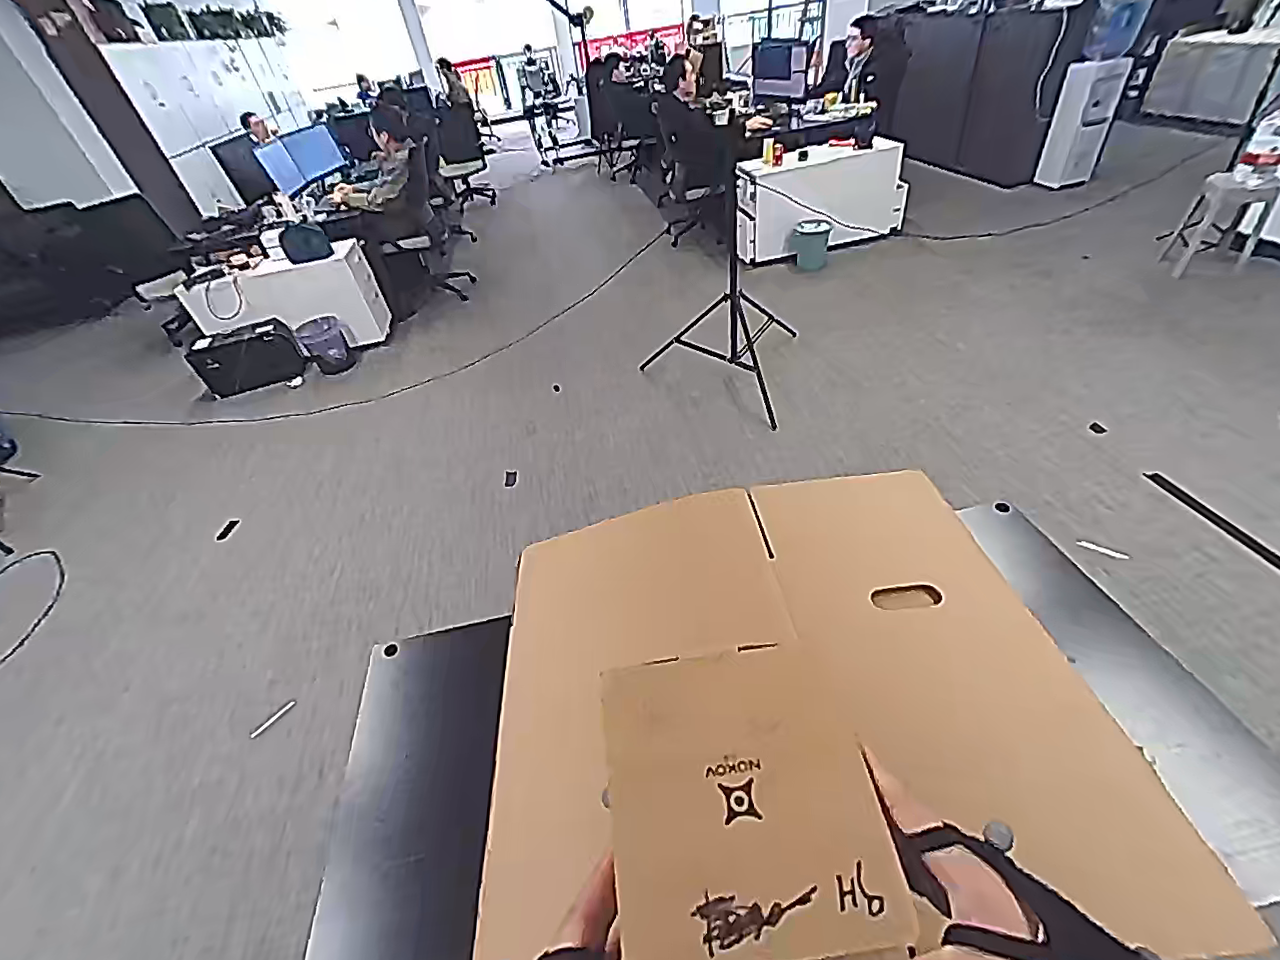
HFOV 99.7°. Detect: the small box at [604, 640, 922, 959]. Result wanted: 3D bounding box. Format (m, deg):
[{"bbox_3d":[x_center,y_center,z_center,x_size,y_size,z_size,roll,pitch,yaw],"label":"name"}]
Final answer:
[{"bbox_3d":[0.068,0.245,0.402,0.168,0.176,0.179,-9,50,0],"label":"small box"}]
